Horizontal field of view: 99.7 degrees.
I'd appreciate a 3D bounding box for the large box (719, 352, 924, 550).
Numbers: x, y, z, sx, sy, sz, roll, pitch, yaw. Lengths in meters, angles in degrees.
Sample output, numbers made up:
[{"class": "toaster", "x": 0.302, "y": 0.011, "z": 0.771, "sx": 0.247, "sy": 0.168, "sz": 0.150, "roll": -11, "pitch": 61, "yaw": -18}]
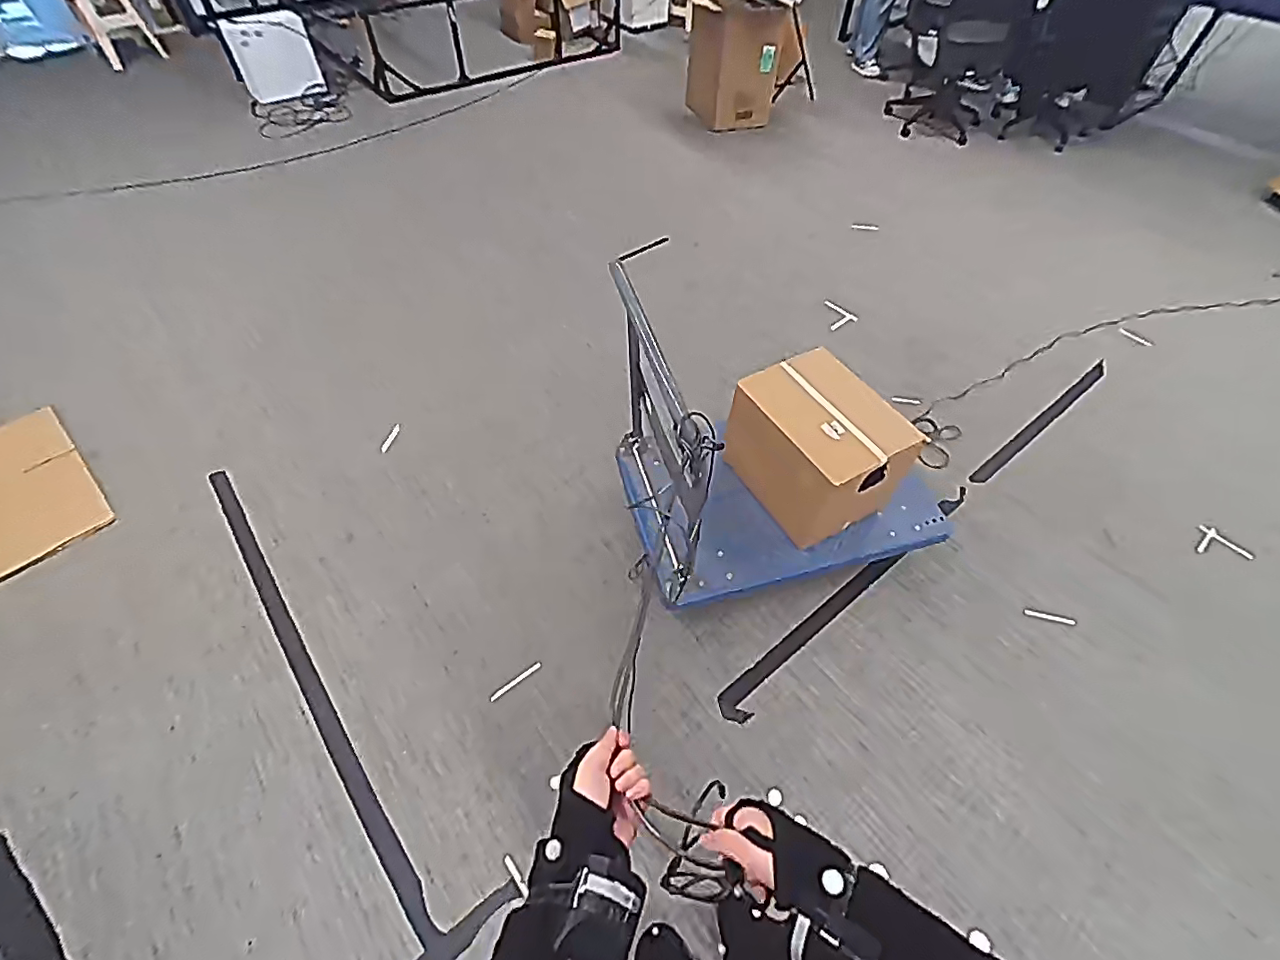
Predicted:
[{"class": "large box", "x": 0.479, "y": -0.086, "z": 1.525, "sx": 0.320, "sy": 0.320, "sz": 0.408, "roll": -25, "pitch": 58, "yaw": -18}]
